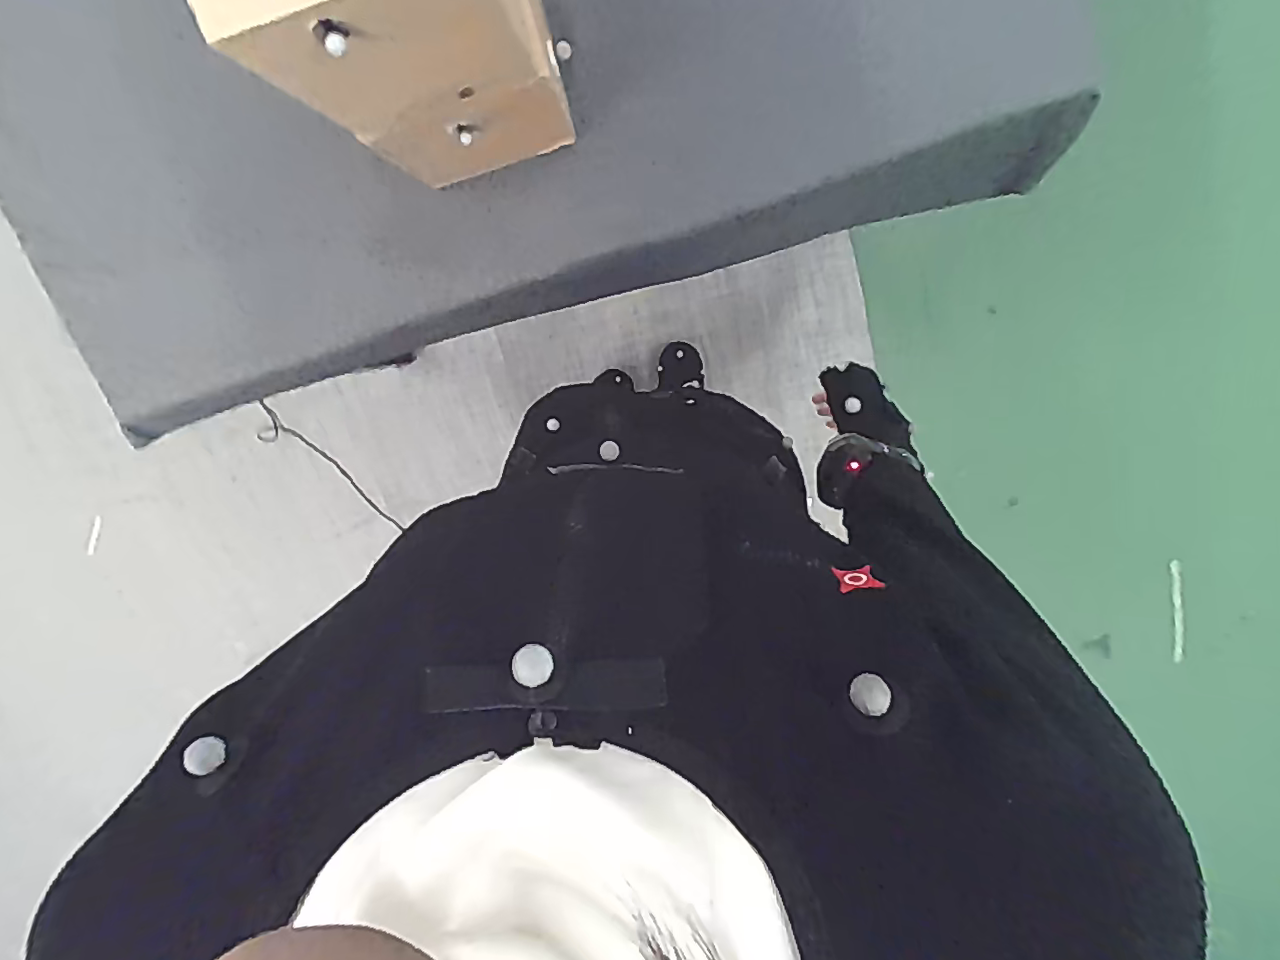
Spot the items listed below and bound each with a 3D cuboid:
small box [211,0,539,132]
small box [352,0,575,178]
[{"bbox_3d":[-0.184,-0.377,0.362,0.168,0.176,0.179,-16,105,6],"label":"small box"},{"bbox_3d":[-0.177,-0.417,0.518,0.179,0.176,0.168,-15,104,6],"label":"small box"}]
